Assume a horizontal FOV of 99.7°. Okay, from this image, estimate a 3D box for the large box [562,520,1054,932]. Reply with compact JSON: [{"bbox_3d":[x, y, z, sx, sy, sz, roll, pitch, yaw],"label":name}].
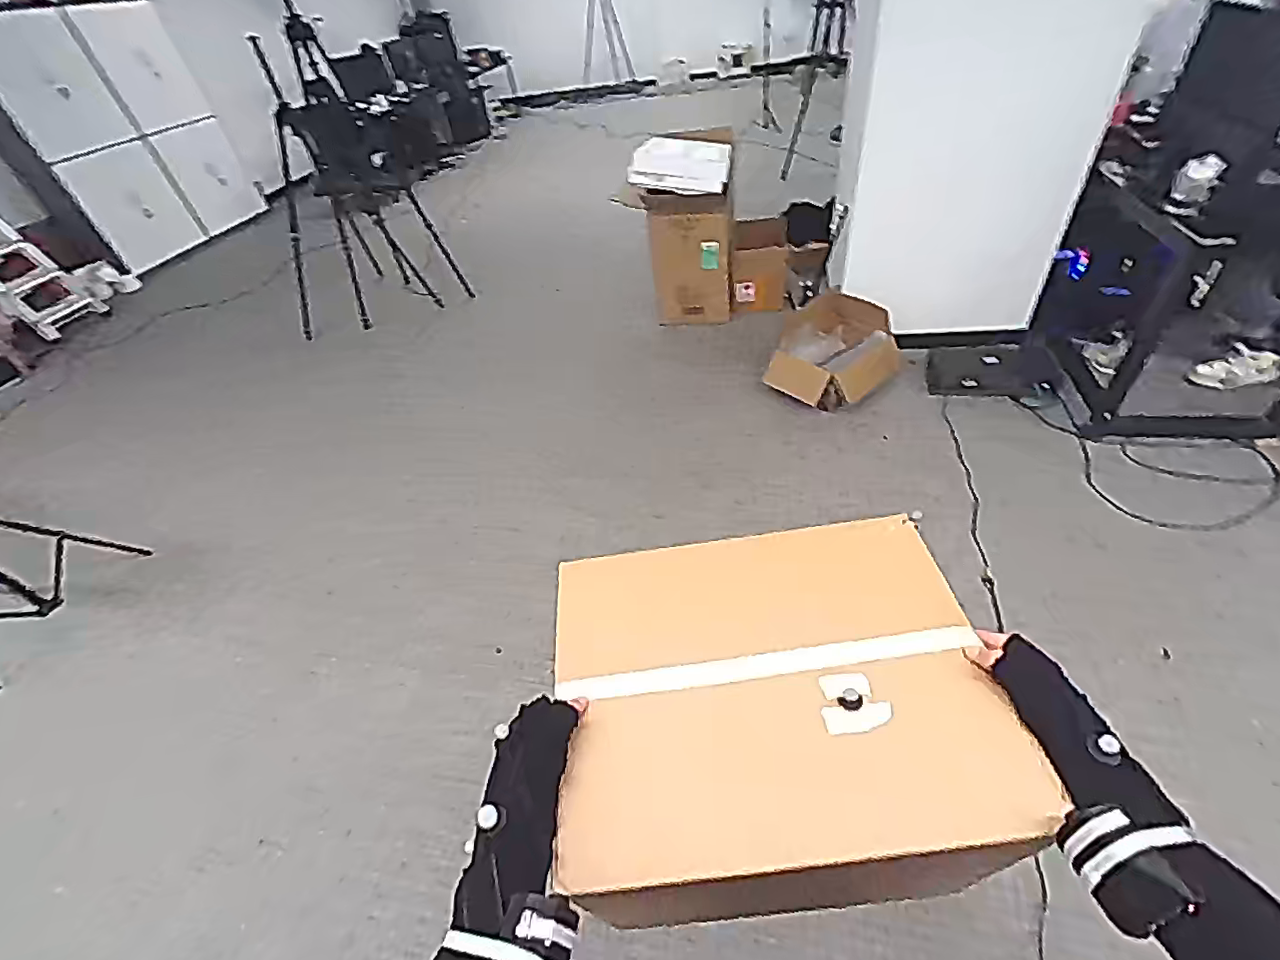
[{"bbox_3d":[0.137,0.290,0.636,0.408,0.320,0.320,-9,45,1],"label":"large box"}]
